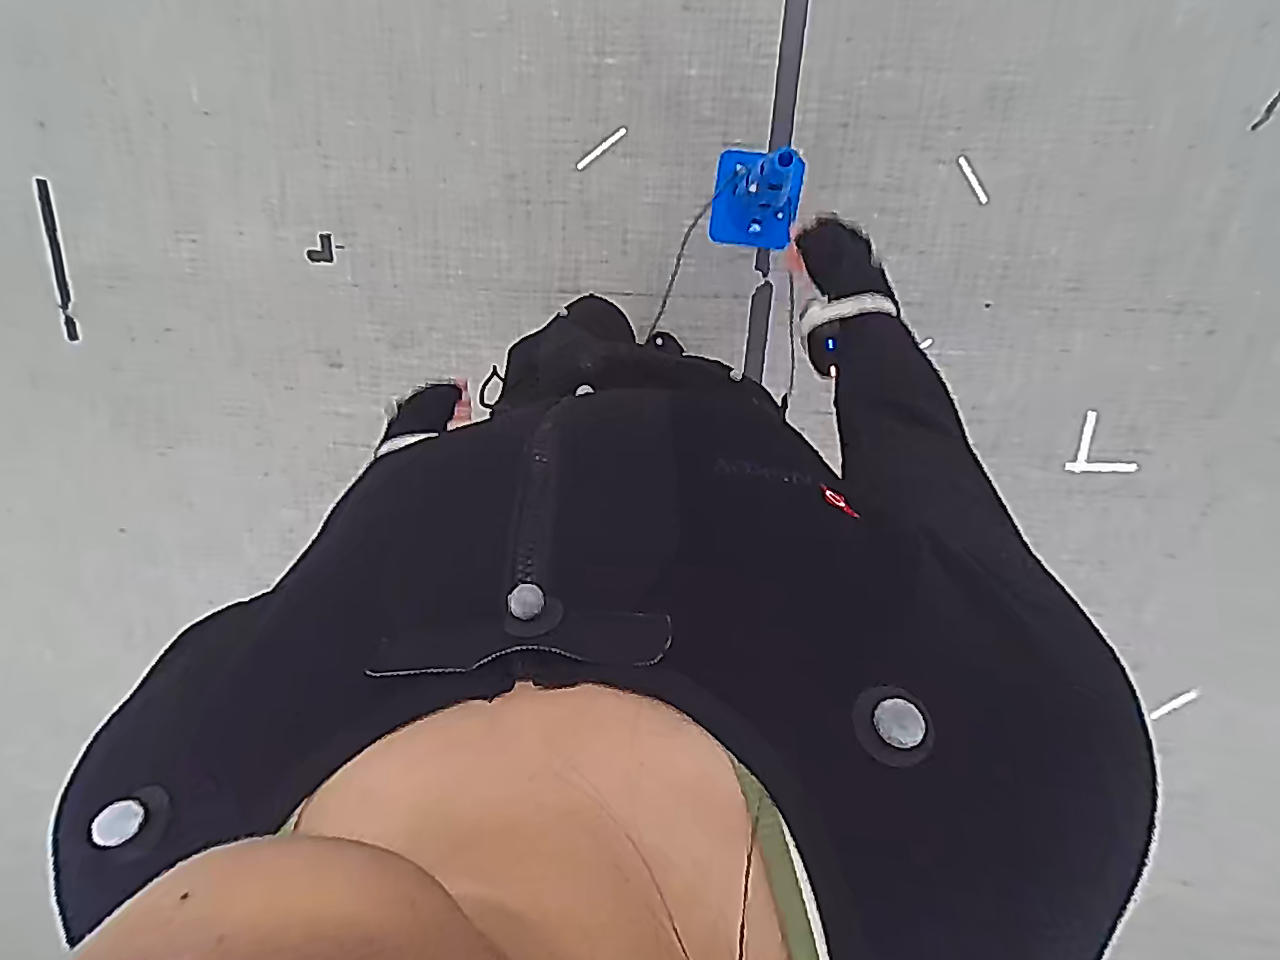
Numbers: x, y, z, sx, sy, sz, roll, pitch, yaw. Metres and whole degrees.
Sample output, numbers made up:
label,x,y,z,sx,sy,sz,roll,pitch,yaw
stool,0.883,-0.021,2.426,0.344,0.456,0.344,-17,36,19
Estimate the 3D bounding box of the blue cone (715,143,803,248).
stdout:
label,x,y,z,sx,sy,sz,roll,pitch,yaw
blue cone,0.261,-0.598,1.100,0.193,0.380,0.192,7,107,3
